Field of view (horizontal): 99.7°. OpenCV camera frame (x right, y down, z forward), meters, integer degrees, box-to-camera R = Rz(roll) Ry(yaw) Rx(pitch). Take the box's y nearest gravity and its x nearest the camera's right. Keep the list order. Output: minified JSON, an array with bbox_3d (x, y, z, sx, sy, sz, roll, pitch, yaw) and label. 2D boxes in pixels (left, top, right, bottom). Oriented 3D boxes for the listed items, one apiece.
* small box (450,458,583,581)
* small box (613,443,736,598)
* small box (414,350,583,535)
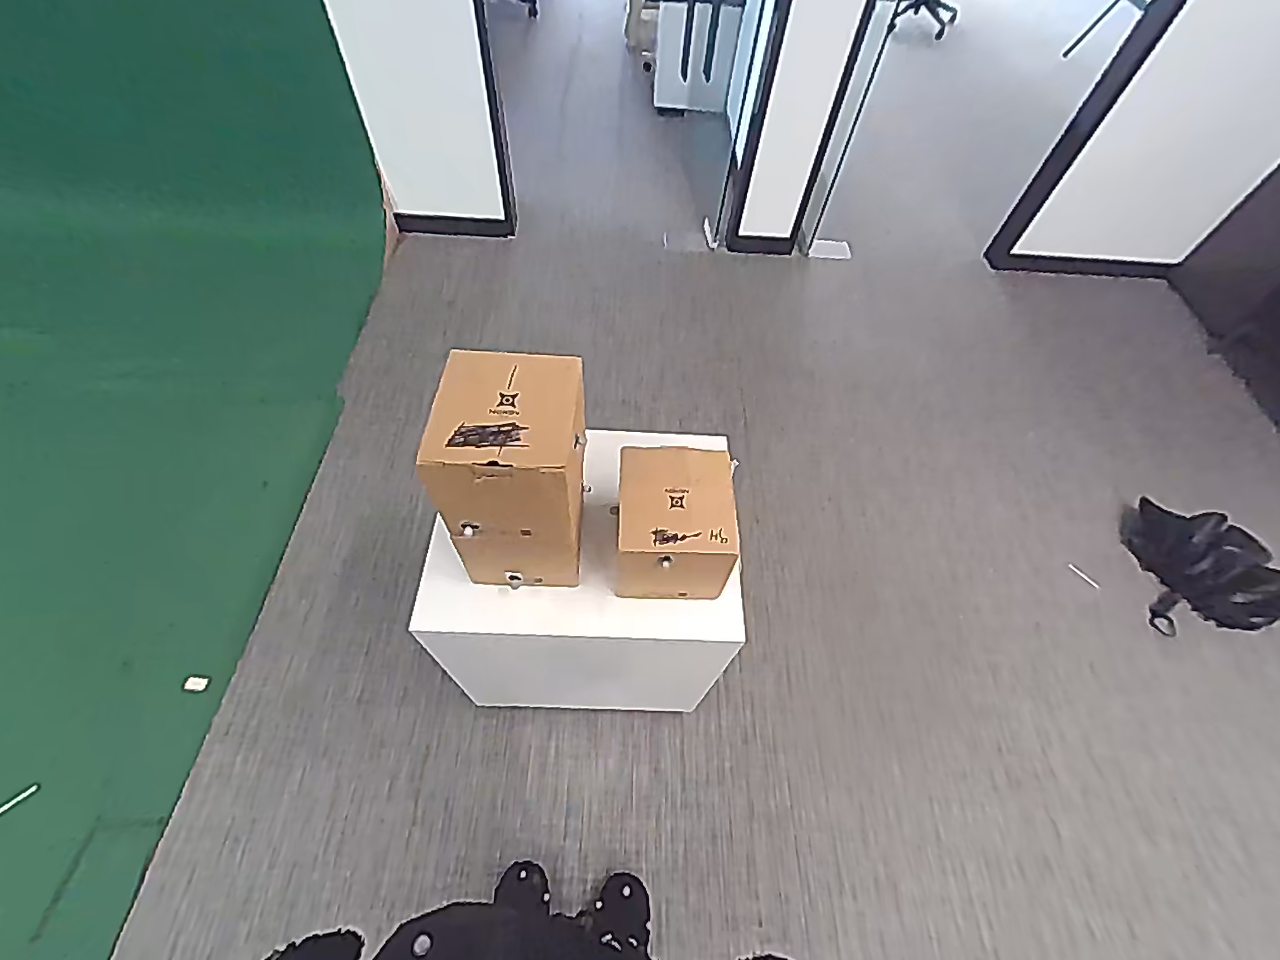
[{"bbox_3d":[-0.174,0.039,0.820,0.168,0.176,0.179,0,58,-3],"label":"small box"},{"bbox_3d":[0.045,0.065,0.835,0.168,0.176,0.179,2,56,-3],"label":"small box"},{"bbox_3d":[-0.164,-0.043,0.697,0.168,0.176,0.179,3,55,-1],"label":"small box"}]
